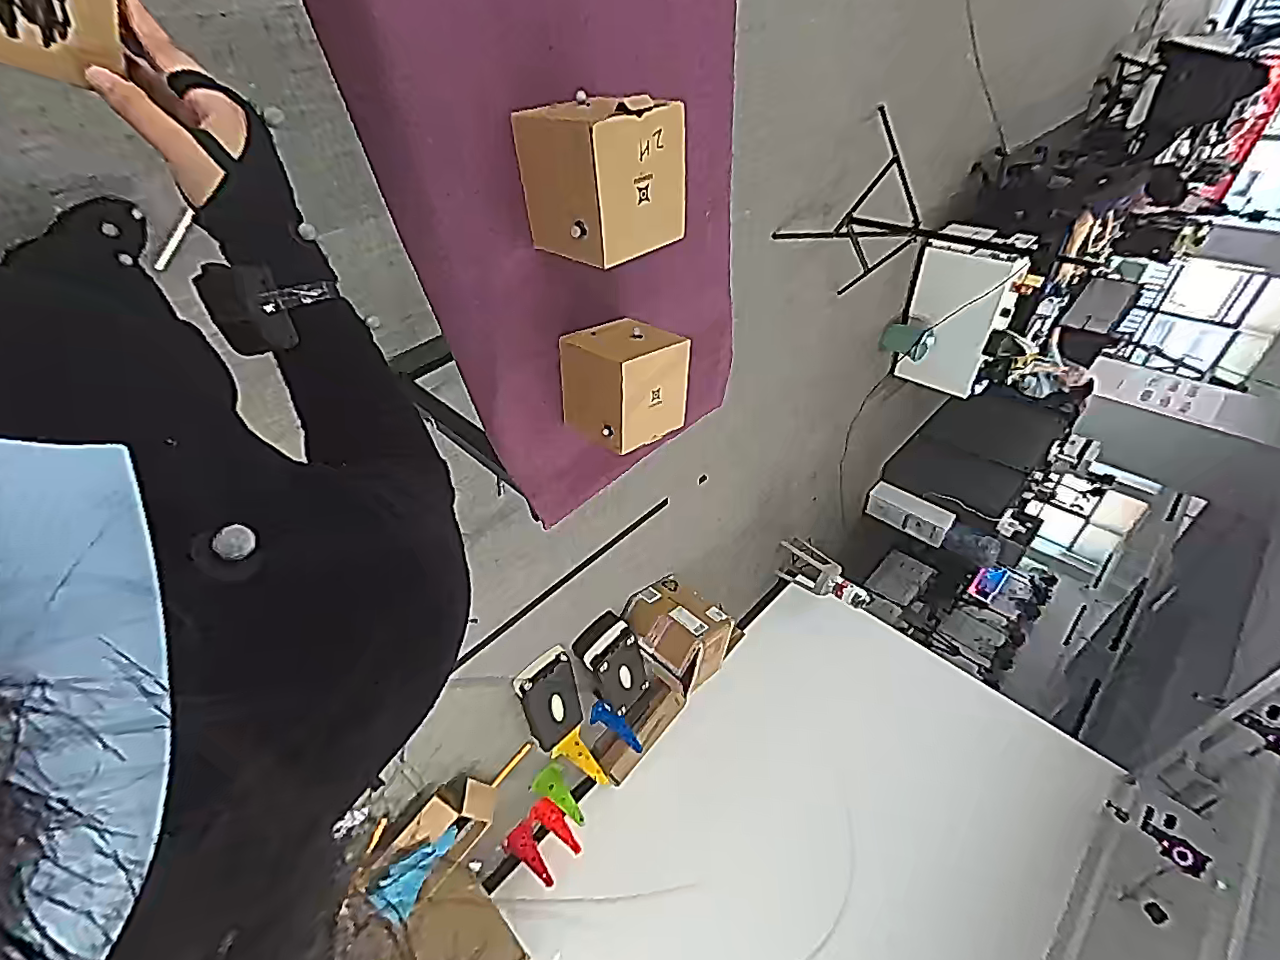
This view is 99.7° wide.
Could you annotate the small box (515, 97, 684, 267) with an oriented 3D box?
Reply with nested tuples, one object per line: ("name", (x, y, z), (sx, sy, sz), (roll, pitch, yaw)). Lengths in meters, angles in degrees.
("small box", (-0.054, -0.432, 0.774), (0.168, 0.176, 0.179), (-35, 139, -31))

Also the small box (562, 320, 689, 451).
("small box", (-0.030, -0.183, 0.991), (0.168, 0.176, 0.179), (-29, 135, -36))
